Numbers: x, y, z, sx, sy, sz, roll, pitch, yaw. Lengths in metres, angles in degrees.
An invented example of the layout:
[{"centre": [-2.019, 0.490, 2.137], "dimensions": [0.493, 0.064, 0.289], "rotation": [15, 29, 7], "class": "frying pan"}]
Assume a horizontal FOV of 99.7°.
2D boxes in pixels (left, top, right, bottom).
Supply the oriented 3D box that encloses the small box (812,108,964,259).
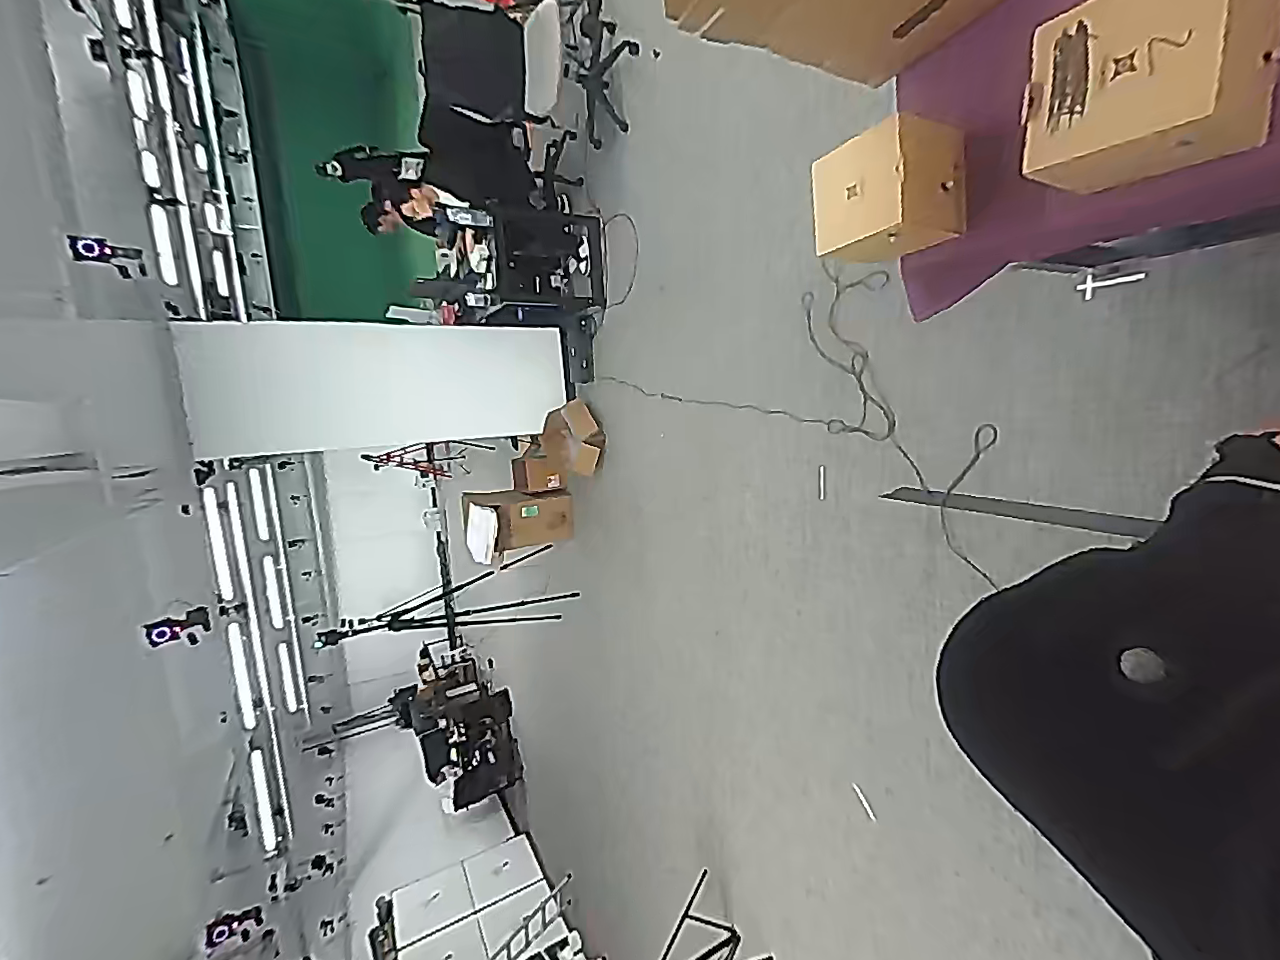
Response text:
[{"centre": [0.424, -0.493, 0.932], "dimensions": [0.179, 0.176, 0.168], "rotation": [4, 101, 60], "class": "small box"}]
